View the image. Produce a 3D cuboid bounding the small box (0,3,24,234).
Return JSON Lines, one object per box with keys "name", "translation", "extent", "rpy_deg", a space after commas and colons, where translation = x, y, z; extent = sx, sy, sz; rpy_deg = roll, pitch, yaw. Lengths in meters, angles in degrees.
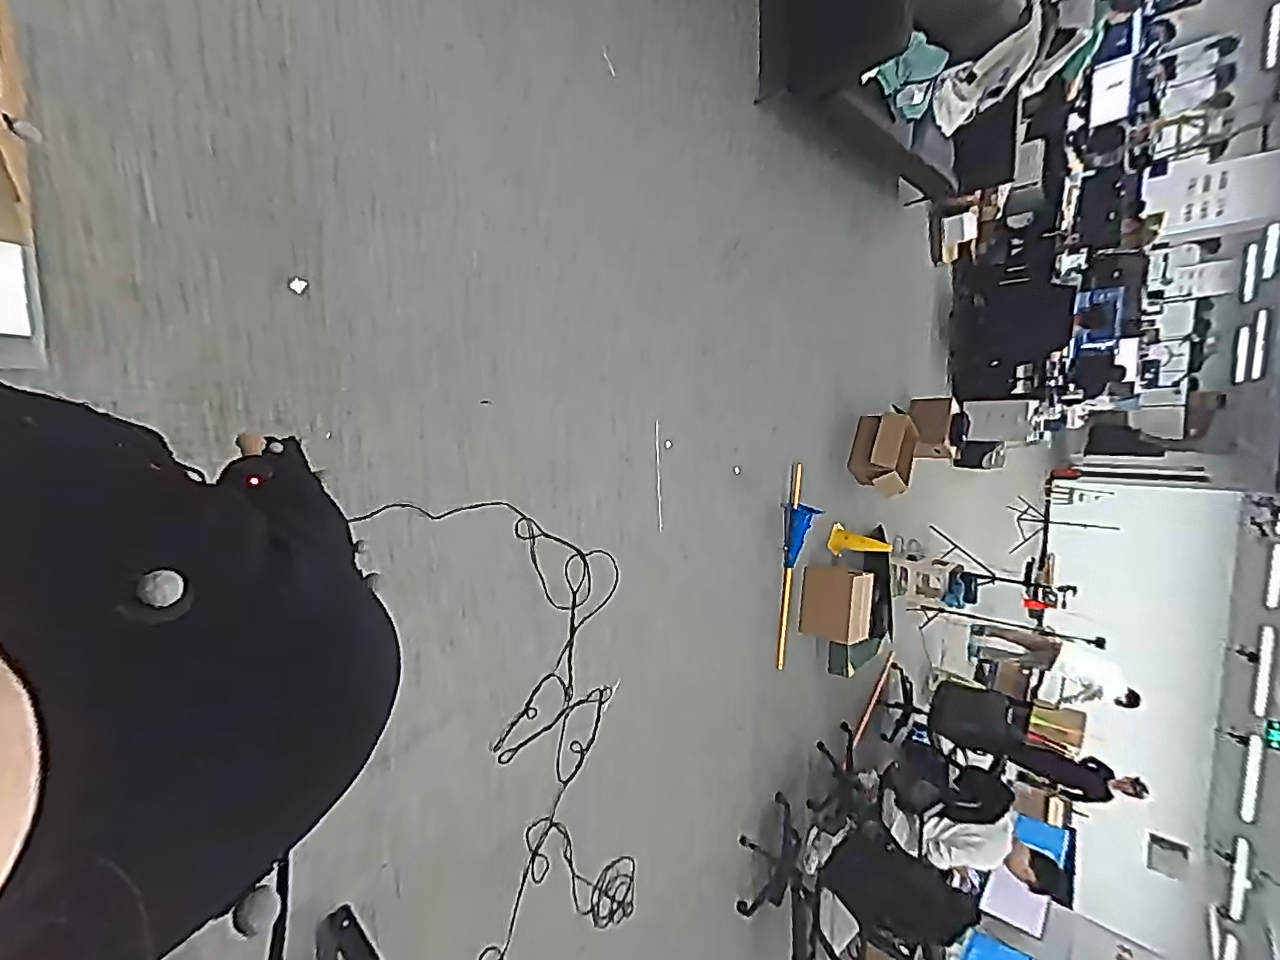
{"name": "small box", "translation": [-0.697, -0.354, 0.495], "extent": [0.168, 0.176, 0.179], "rpy_deg": [-3, 97, -45]}
